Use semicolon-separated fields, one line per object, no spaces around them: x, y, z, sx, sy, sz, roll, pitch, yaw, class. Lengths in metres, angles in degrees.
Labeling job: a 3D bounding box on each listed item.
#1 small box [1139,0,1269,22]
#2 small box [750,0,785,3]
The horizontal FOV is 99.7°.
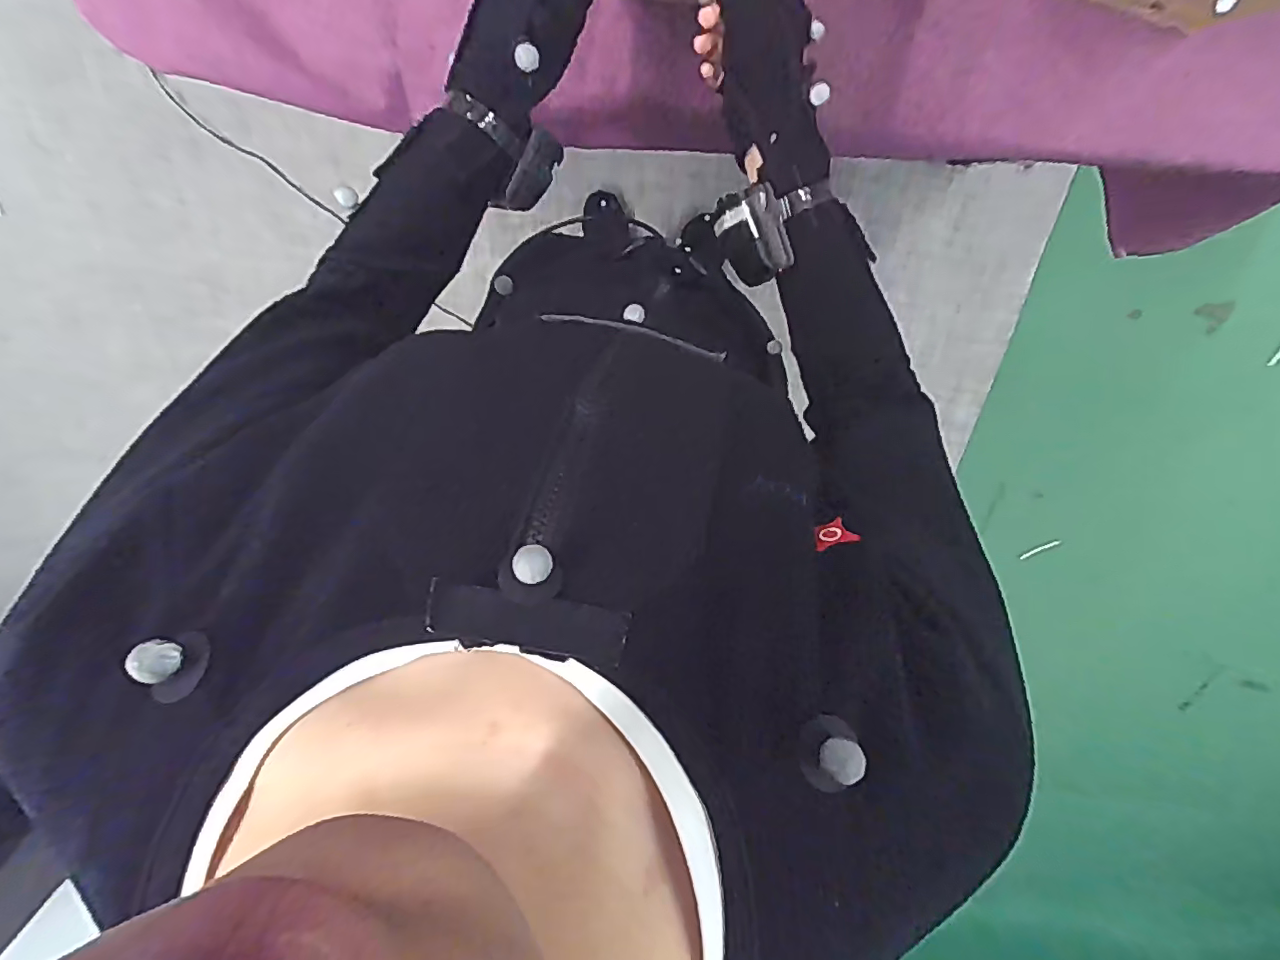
0.449;-0.465;0.378;0.168;0.176;0.179;15;118;-4;small box
0.064;-0.484;0.394;0.168;0.176;0.179;5;119;1;small box
